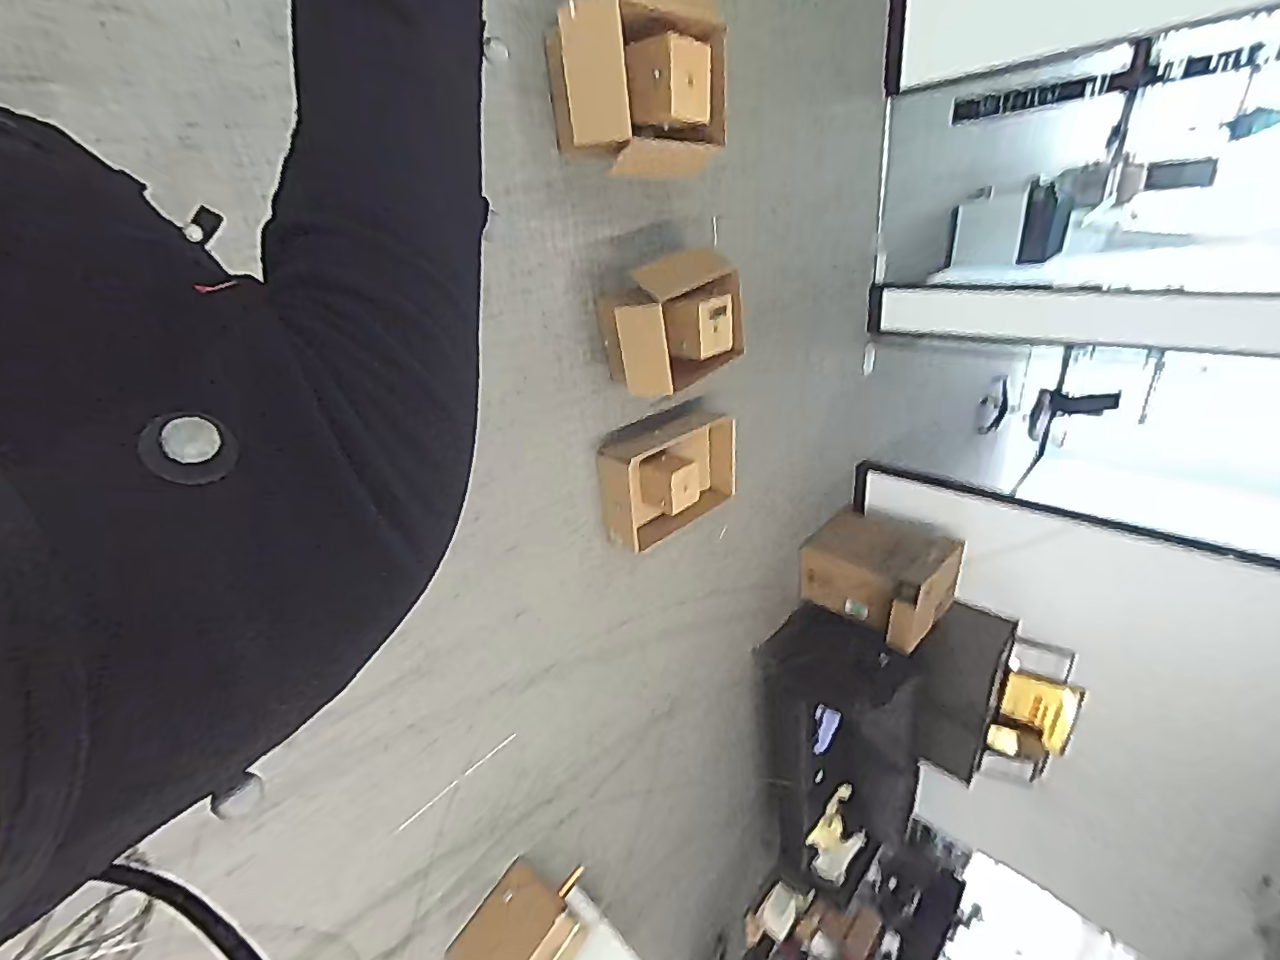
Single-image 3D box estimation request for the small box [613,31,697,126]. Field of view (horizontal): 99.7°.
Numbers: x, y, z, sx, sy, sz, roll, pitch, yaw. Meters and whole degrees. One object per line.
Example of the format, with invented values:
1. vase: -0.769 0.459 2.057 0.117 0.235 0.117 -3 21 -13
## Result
1. small box: 0.041 -1.098 1.497 0.168 0.176 0.179 -26 123 -40
